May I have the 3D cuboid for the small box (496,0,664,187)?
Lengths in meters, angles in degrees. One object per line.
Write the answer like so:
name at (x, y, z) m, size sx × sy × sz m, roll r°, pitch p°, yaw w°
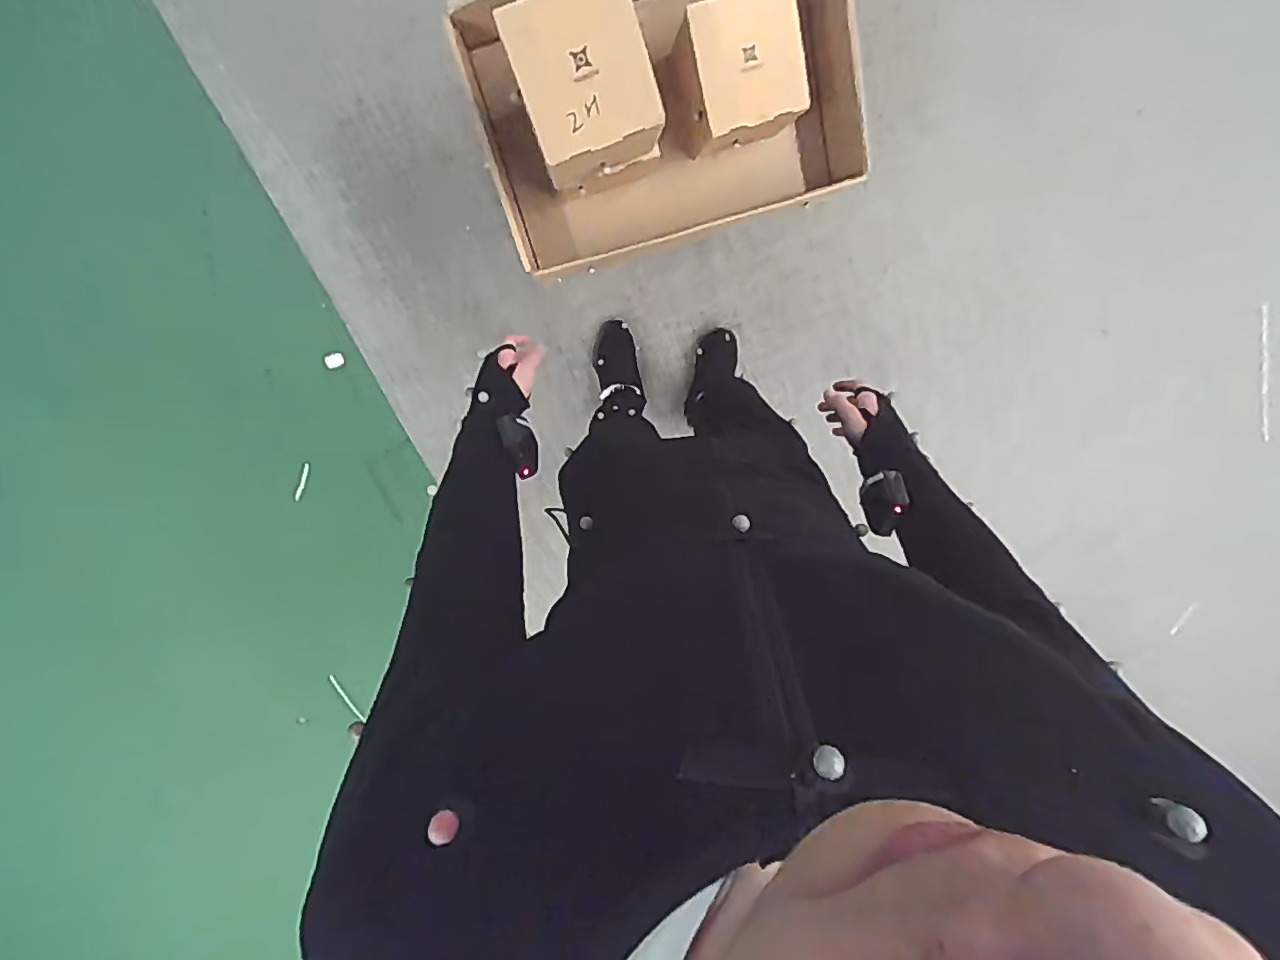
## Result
small box at (-0.079, -0.530, 0.740) m, size 0.168 × 0.176 × 0.179 m, roll -19°, pitch 111°, yaw 1°
